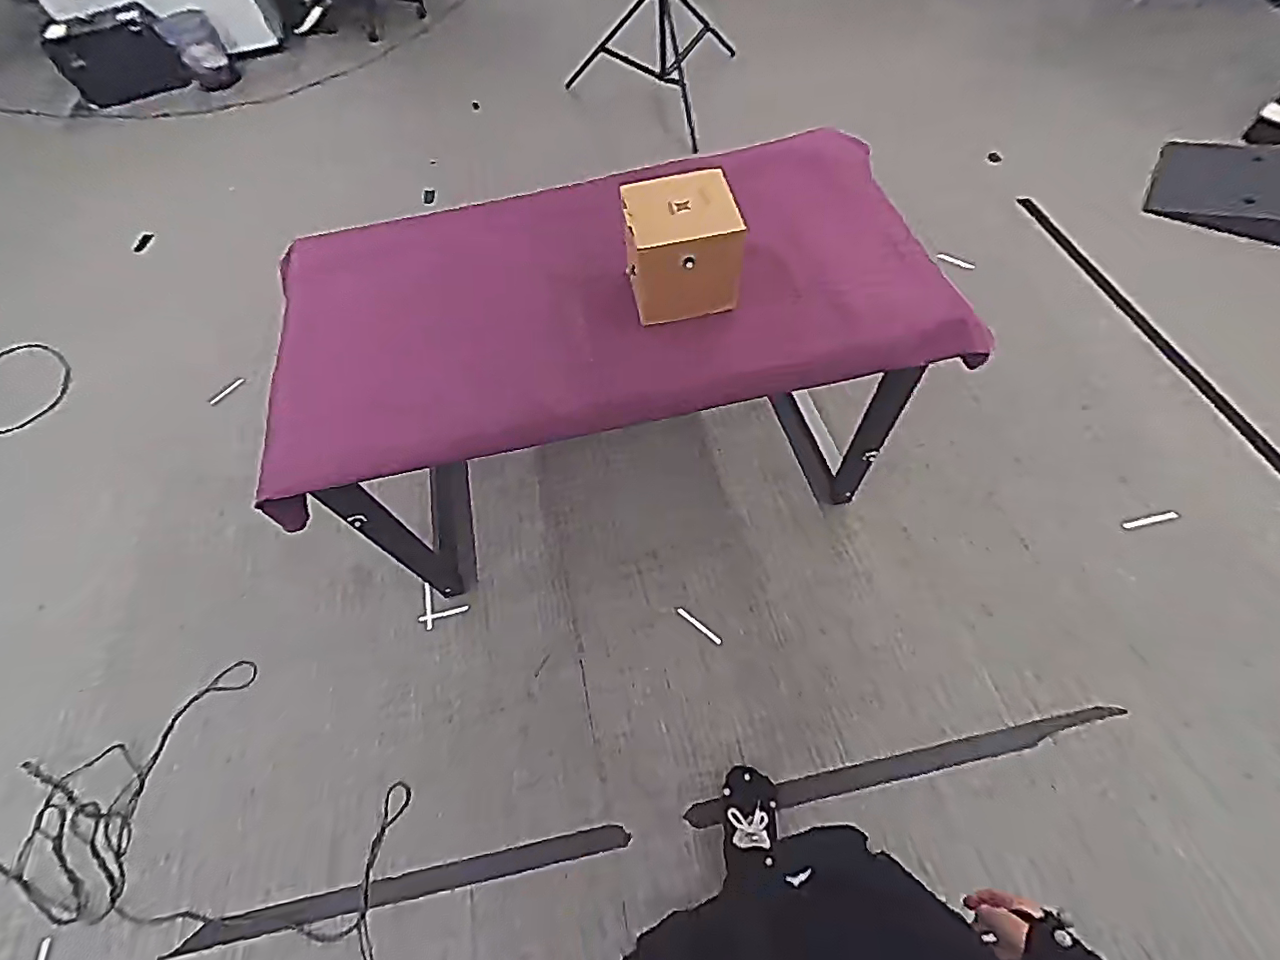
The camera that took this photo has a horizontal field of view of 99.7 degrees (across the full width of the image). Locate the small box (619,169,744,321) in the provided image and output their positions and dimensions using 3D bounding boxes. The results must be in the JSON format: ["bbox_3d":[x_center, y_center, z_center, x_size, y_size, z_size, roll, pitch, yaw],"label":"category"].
[{"bbox_3d":[0.070,-0.401,0.942,0.179,0.176,0.168,-11,62,-2],"label":"small box"}]
